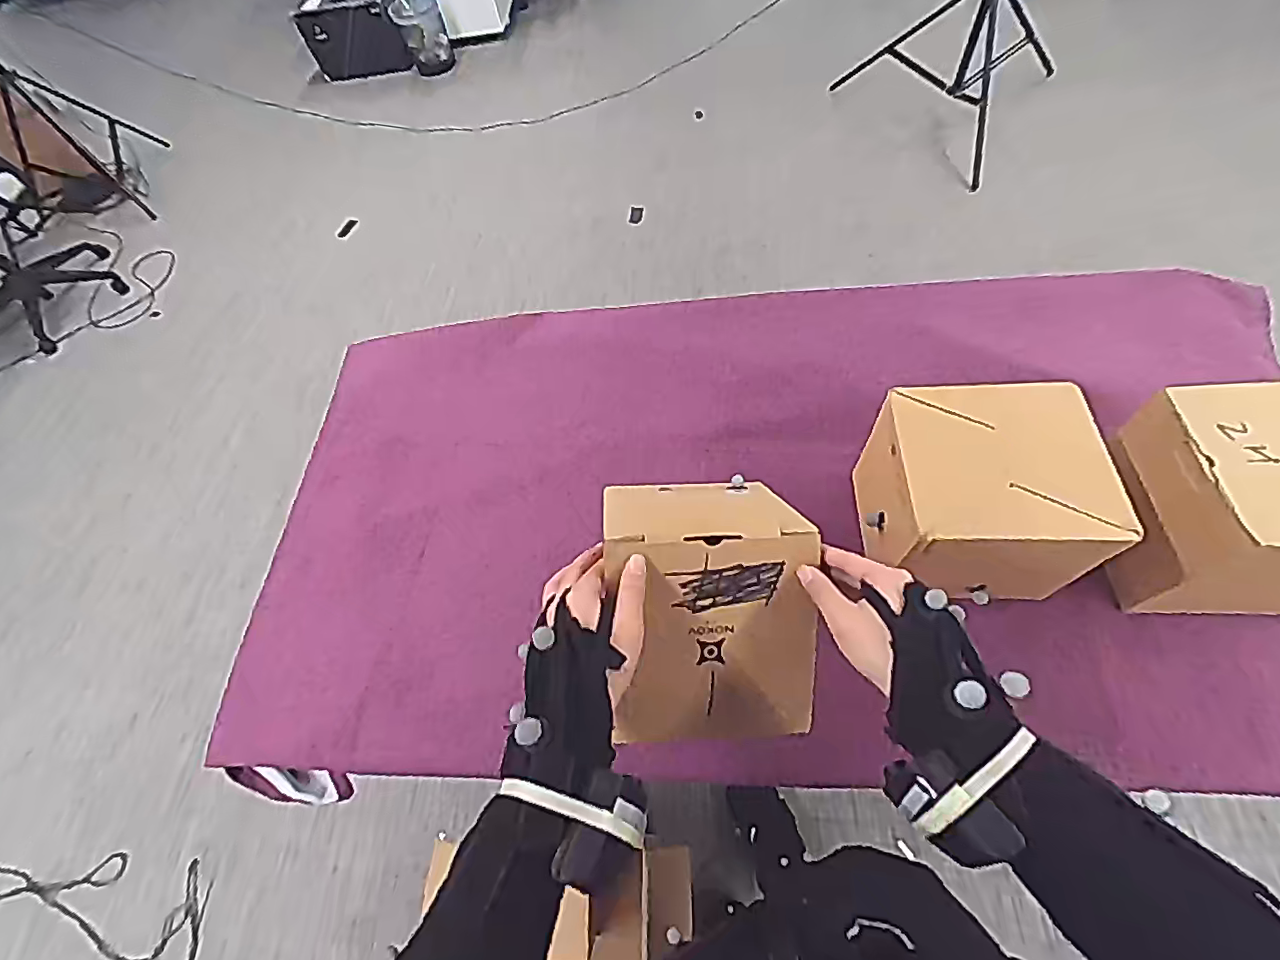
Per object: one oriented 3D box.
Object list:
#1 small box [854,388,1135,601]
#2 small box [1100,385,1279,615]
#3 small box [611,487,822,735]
[{"bbox_3d":[0.342,0.020,0.565,0.179,0.176,0.168,-2,59,9],"label":"small box"},{"bbox_3d":[0.584,0.025,0.527,0.179,0.176,0.168,0,58,8],"label":"small box"},{"bbox_3d":[0.057,0.105,0.505,0.168,0.176,0.179,-2,103,-2],"label":"small box"}]
